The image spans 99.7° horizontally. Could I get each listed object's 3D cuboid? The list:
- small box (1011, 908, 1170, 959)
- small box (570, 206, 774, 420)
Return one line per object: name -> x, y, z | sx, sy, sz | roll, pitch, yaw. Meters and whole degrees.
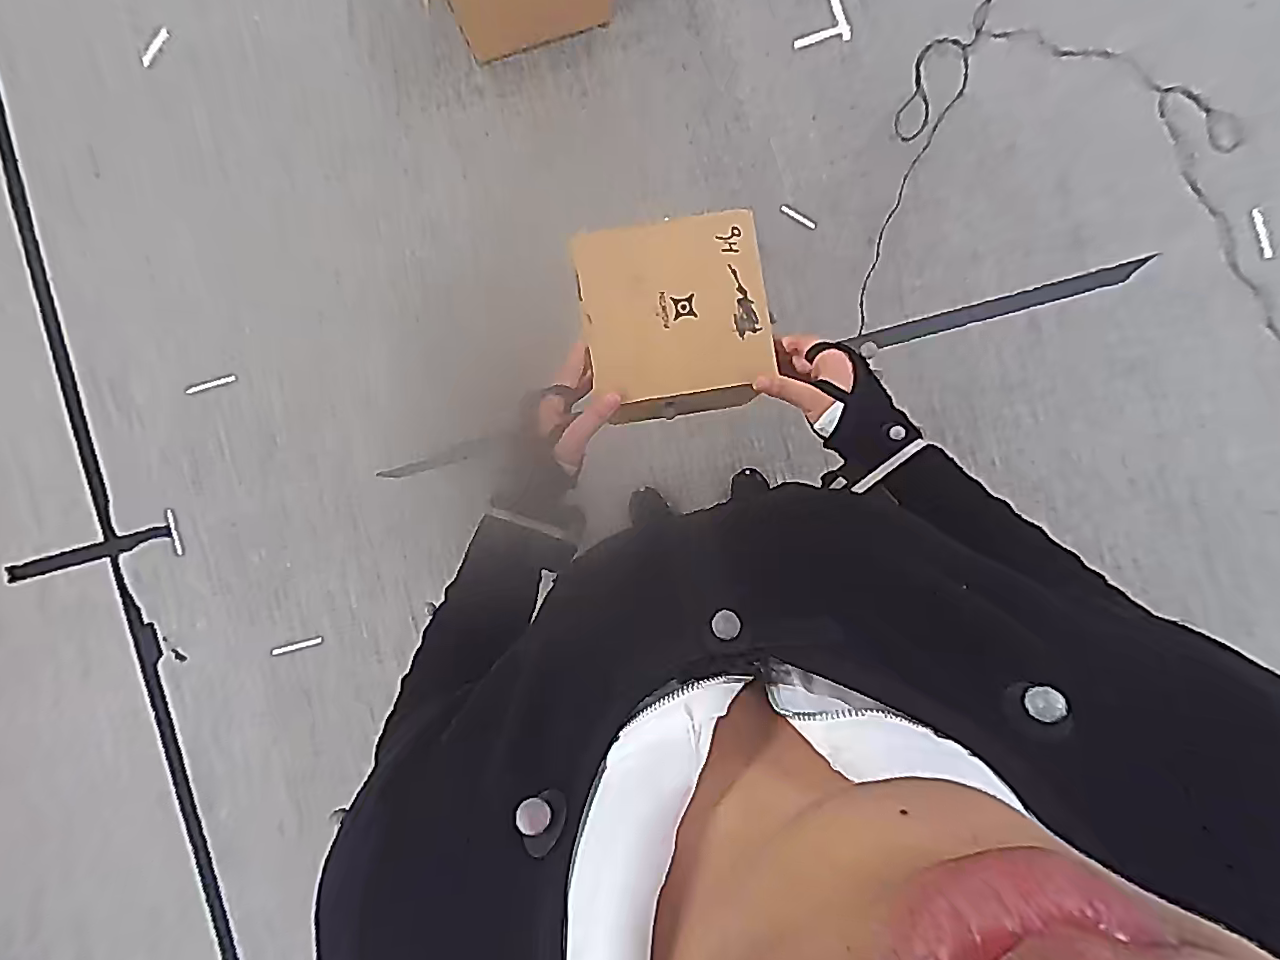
small box -> 0.616, 0.699, 0.678 | 0.168, 0.176, 0.179 | -17, 88, 2
small box -> 0.032, -0.165, 0.591 | 0.179, 0.176, 0.168 | -9, 90, 1
